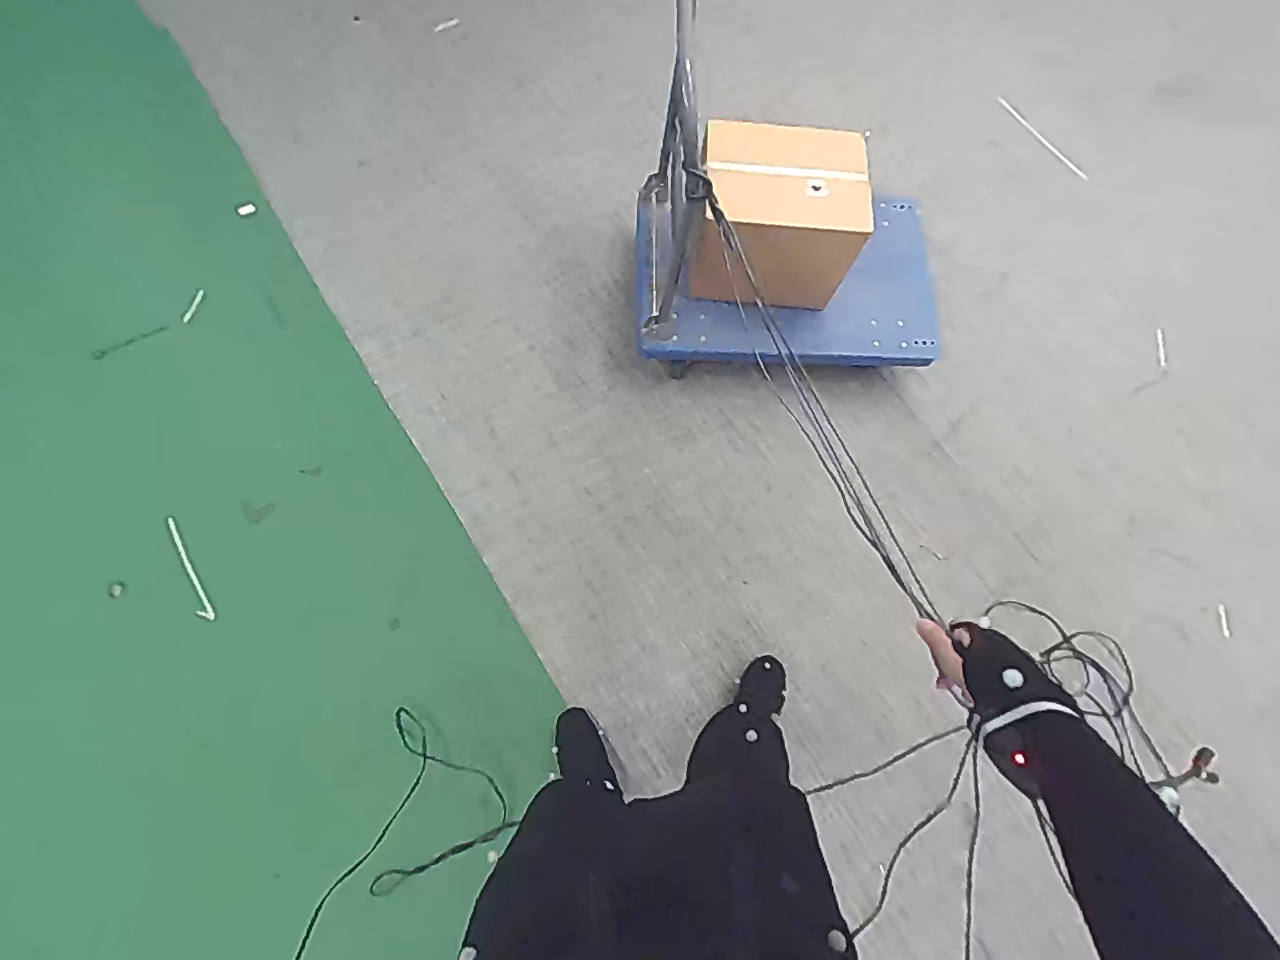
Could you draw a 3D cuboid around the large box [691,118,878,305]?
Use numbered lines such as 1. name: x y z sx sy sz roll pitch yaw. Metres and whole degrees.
1. large box: 0.356 -0.696 1.441 0.408 0.320 0.320 4 74 -3
